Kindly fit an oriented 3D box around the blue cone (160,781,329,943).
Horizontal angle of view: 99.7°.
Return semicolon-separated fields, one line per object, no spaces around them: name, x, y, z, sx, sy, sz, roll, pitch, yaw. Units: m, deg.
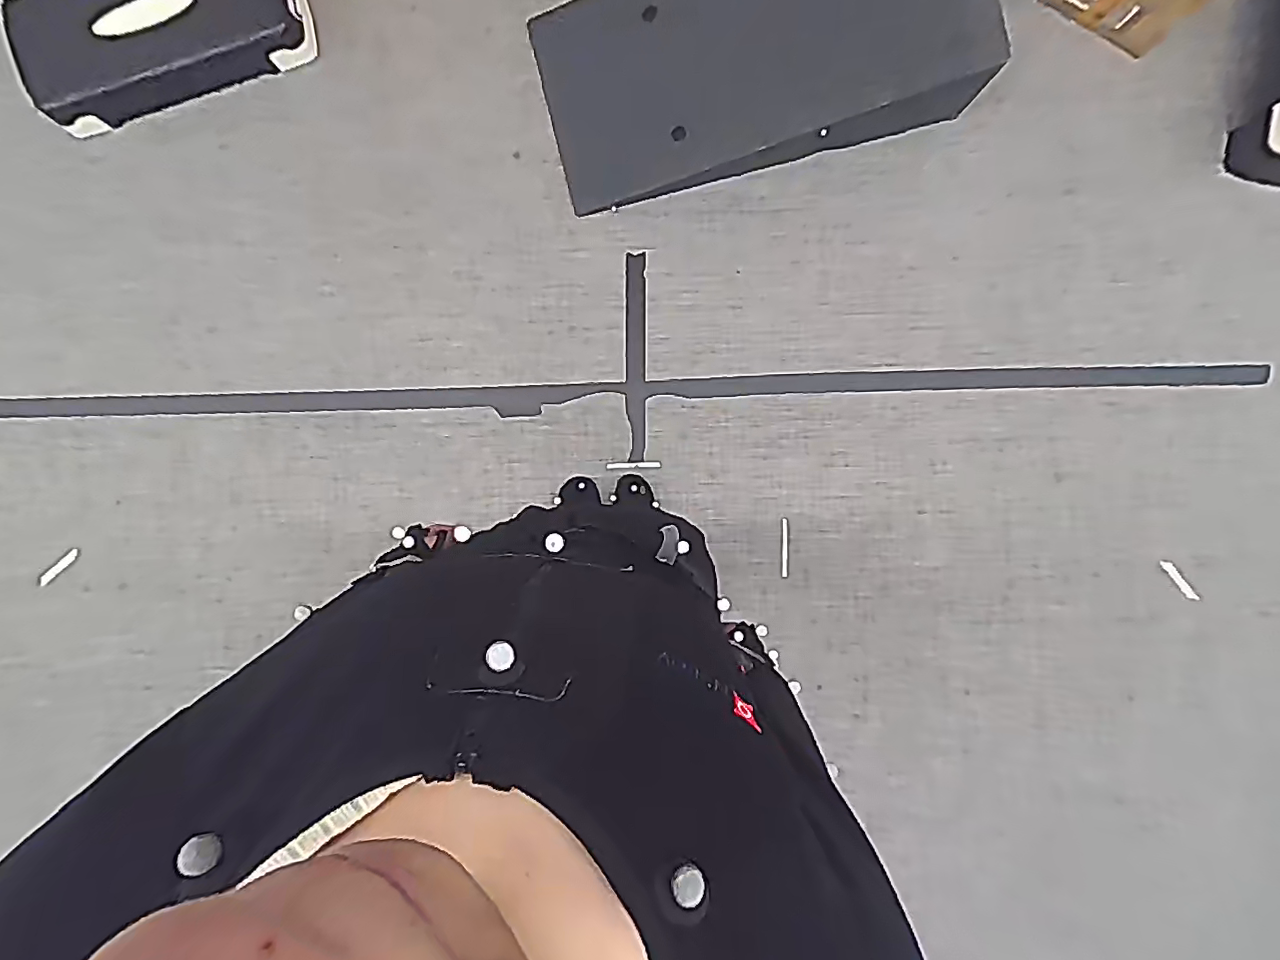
blue cone;-0.908;0.884;1.244;0.192;0.380;0.193;0;92;2
